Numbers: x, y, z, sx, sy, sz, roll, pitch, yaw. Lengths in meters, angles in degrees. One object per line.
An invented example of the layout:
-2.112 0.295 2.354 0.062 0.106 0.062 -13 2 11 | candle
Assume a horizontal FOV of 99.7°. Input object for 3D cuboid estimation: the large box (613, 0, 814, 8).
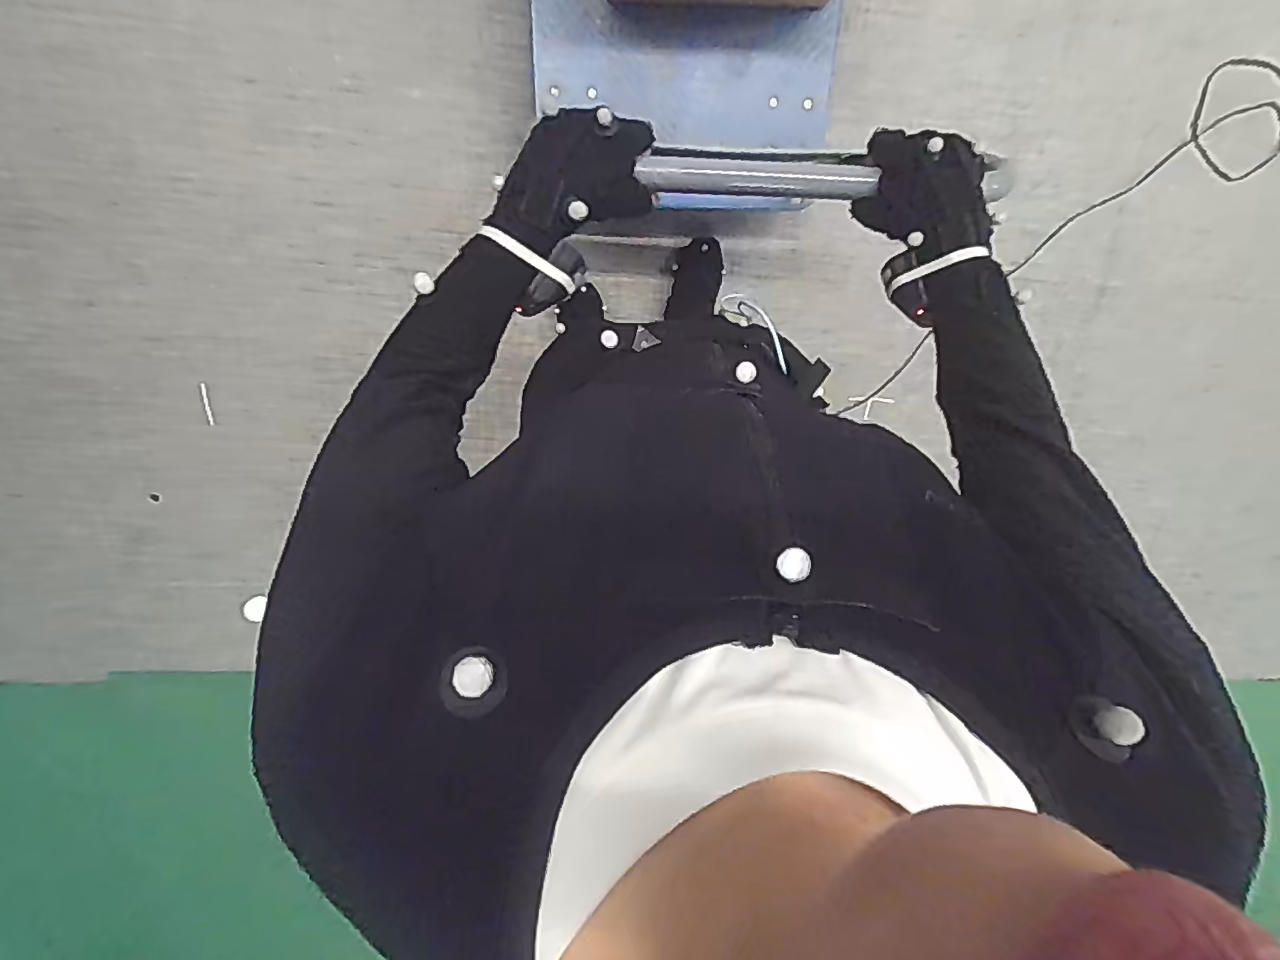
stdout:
0.152 -0.951 0.801 0.408 0.320 0.320 -3 114 -2 | large box
